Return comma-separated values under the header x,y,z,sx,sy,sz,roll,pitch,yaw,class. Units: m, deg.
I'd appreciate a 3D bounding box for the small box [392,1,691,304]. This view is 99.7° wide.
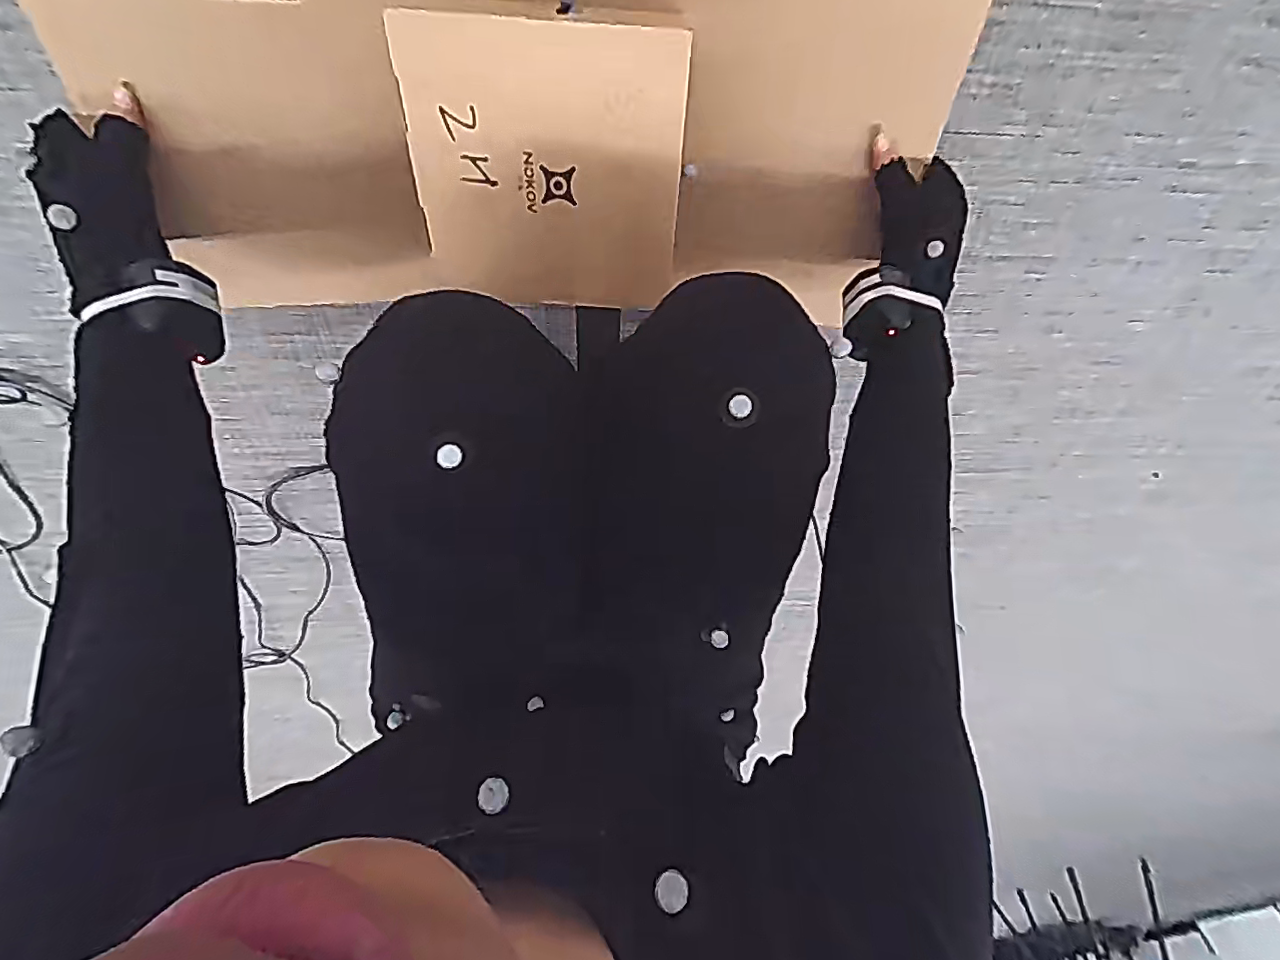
x,y,z,sx,sy,sz,roll,pitch,yaw,class
-0.059,-0.256,0.421,0.179,0.176,0.168,5,132,0,small box
